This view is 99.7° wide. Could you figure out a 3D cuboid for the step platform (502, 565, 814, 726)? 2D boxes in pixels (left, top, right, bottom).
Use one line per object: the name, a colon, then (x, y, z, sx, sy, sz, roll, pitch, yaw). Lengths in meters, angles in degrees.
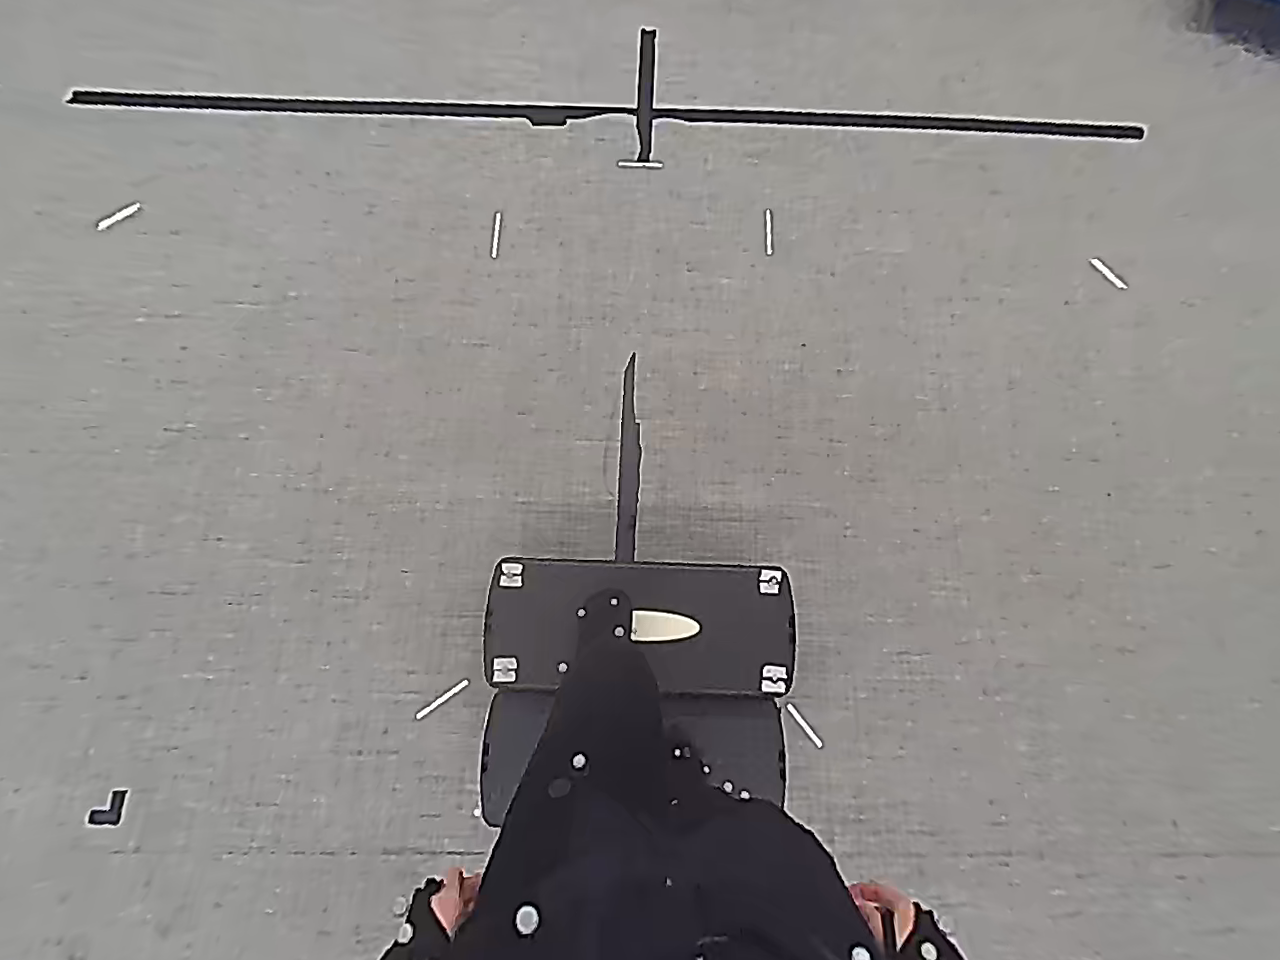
step platform: (0.038, 0.368, 1.230, 0.684, 0.204, 0.286, 6, 75, -1)
